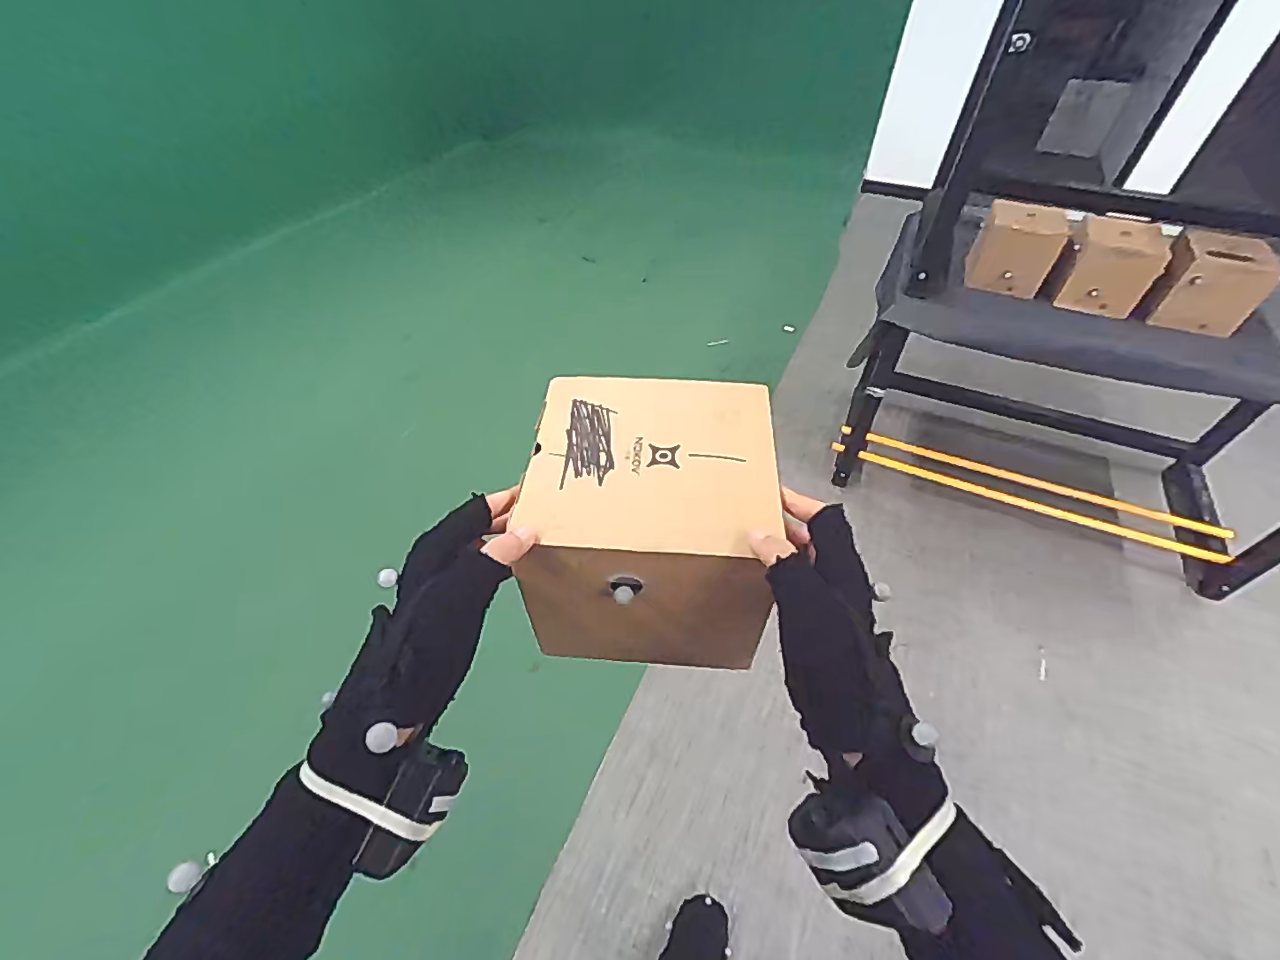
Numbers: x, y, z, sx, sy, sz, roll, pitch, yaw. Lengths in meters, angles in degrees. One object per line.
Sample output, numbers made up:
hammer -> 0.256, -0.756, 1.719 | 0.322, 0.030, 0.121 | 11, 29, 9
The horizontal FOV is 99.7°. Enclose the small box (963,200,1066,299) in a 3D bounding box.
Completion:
small box -> 0.969, -0.601, 1.413 | 0.168, 0.176, 0.179 | 18, 51, 16

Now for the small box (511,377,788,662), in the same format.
small box -> 0.012, 0.035, 0.444 | 0.179, 0.176, 0.168 | 4, 49, 3
